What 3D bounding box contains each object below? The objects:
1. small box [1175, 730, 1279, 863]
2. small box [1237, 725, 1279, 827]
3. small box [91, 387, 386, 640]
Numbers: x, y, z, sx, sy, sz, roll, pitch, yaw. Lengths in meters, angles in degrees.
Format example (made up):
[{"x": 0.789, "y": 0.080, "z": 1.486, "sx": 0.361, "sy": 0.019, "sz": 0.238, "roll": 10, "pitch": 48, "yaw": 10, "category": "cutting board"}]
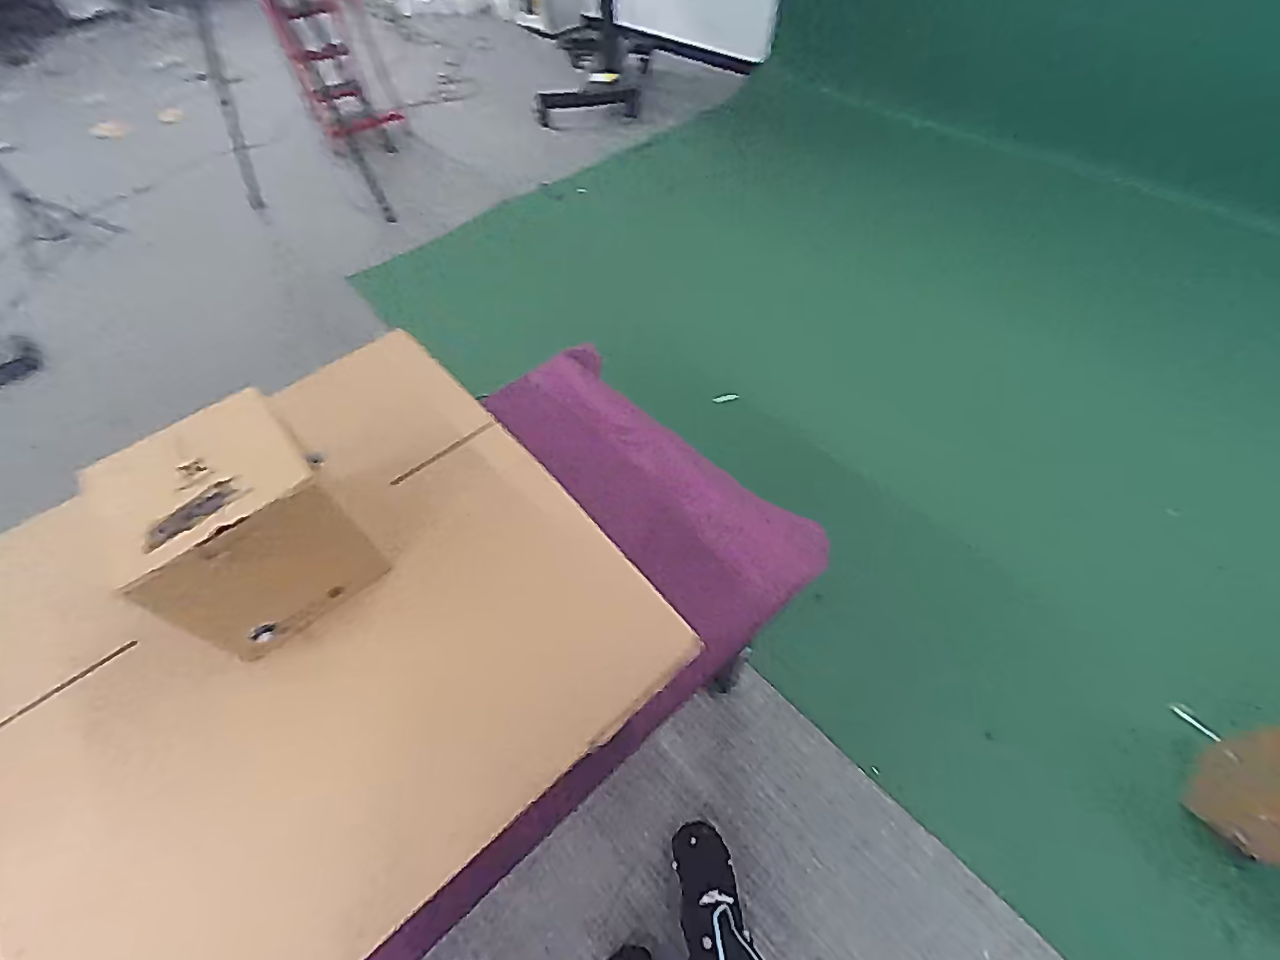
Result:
[{"x": 1.301, "y": 0.669, "z": 1.141, "sx": 0.179, "sy": 0.176, "sz": 0.168, "roll": -40, "pitch": 61, "yaw": -23, "category": "small box"}, {"x": 1.293, "y": 0.573, "z": 1.010, "sx": 0.168, "sy": 0.176, "sz": 0.179, "roll": 37, "pitch": 65, "yaw": 24, "category": "small box"}, {"x": -0.402, "y": 0.043, "z": 0.566, "sx": 0.168, "sy": 0.176, "sz": 0.179, "roll": -37, "pitch": 58, "yaw": -21, "category": "small box"}]
